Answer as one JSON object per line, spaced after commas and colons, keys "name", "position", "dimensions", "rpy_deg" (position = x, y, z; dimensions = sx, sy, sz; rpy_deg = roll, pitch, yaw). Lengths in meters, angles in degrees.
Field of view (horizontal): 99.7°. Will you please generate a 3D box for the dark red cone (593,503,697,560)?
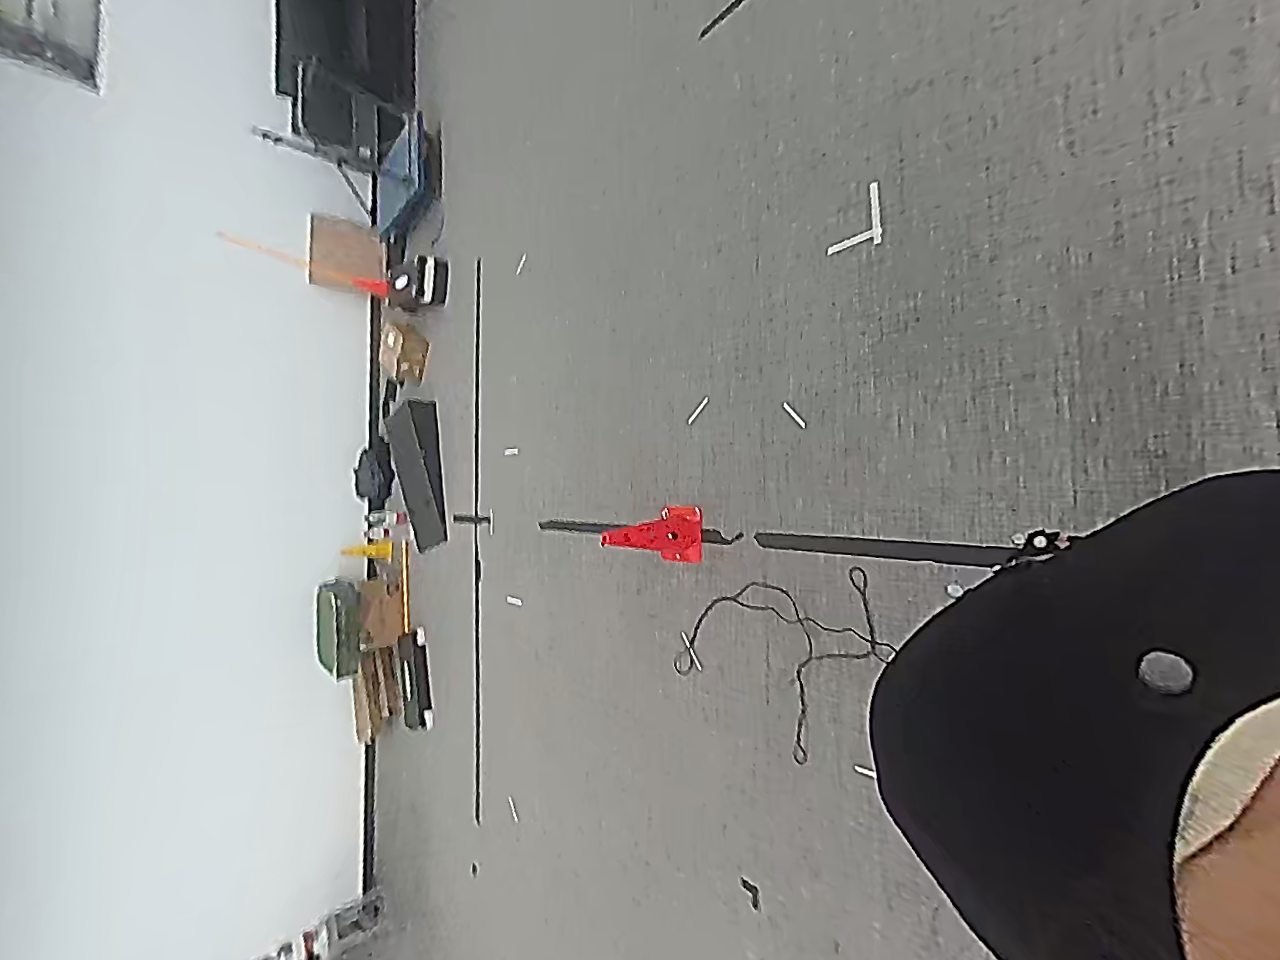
{"name": "dark red cone", "position": [0.005, 0.183, 1.838], "dimensions": [0.202, 0.394, 0.201], "rpy_deg": [-3, 87, 48]}
